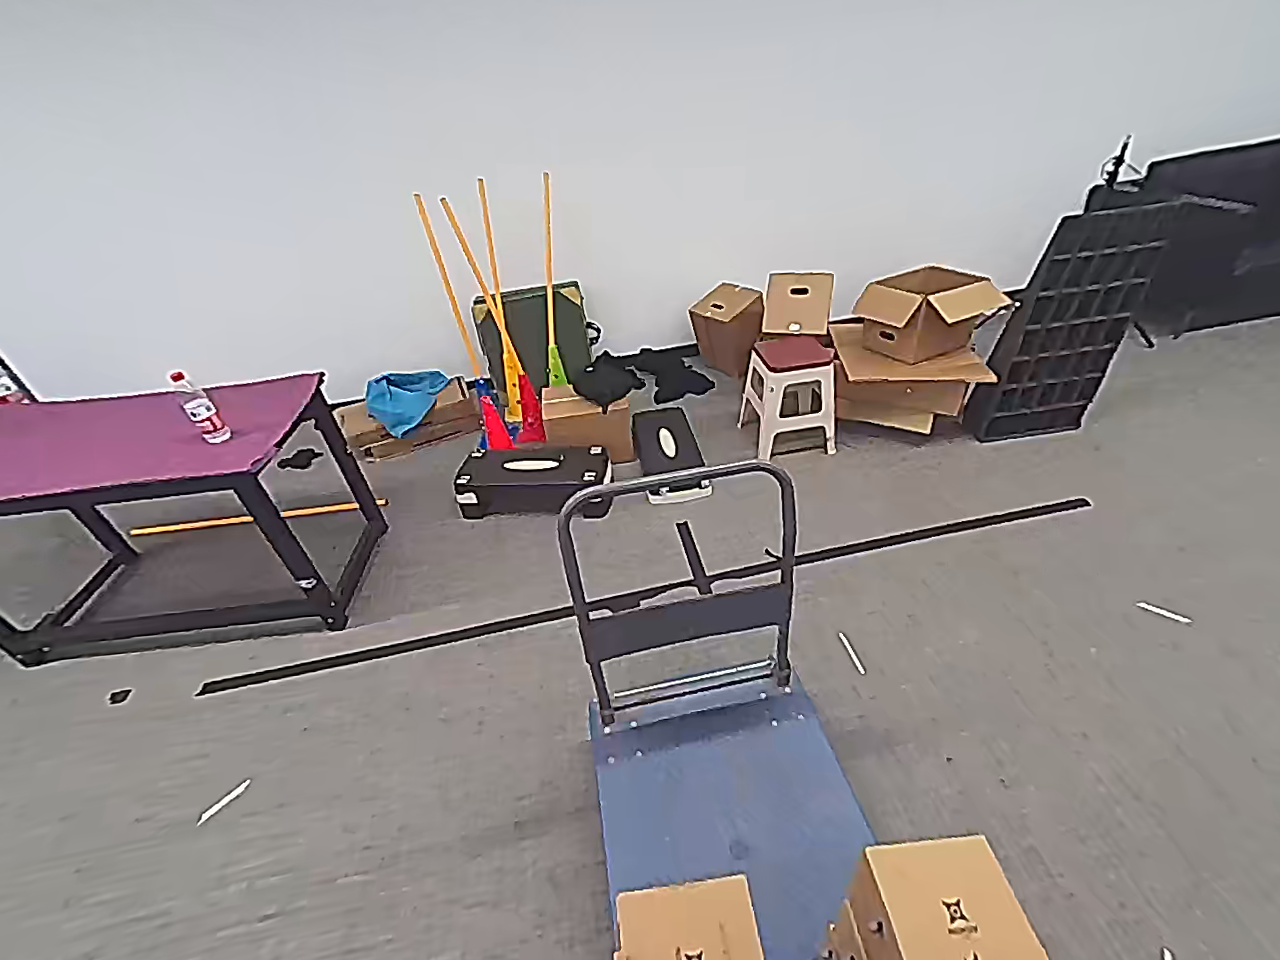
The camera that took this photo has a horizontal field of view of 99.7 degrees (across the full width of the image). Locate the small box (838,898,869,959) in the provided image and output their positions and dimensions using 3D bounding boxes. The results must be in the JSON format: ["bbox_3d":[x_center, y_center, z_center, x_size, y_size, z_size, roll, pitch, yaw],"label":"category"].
[{"bbox_3d":[0.407,0.737,0.801,0.179,0.176,0.168,-6,36,-1],"label":"small box"}]

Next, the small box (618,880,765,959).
[{"bbox_3d":[0.071,0.648,0.693,0.179,0.176,0.168,-7,38,-2],"label":"small box"}]

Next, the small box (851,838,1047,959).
[{"bbox_3d":[0.393,0.603,0.705,0.168,0.176,0.179,-6,36,0],"label":"small box"}]
